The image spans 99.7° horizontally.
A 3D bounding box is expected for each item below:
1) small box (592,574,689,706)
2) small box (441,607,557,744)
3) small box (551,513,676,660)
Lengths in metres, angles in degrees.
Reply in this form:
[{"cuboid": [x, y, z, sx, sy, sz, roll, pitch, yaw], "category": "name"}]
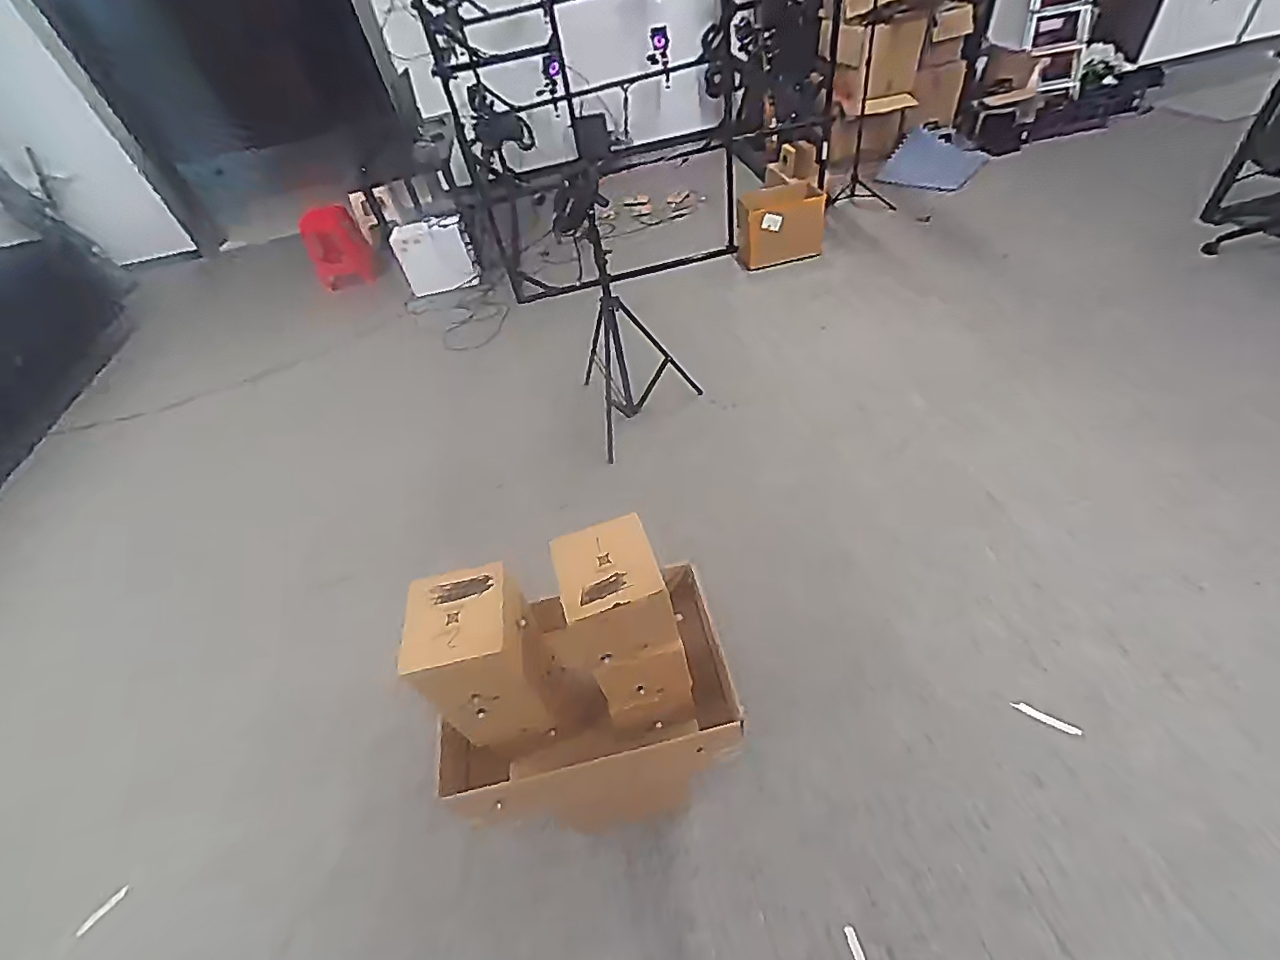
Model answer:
[{"cuboid": [-0.009, 0.311, 1.062, 0.168, 0.176, 0.179, -16, 47, -3], "category": "small box"}, {"cuboid": [-0.266, 0.381, 1.052, 0.168, 0.176, 0.179, -14, 45, 0], "category": "small box"}, {"cuboid": [-0.044, 0.194, 0.952, 0.168, 0.176, 0.179, -18, 46, -5], "category": "small box"}]
